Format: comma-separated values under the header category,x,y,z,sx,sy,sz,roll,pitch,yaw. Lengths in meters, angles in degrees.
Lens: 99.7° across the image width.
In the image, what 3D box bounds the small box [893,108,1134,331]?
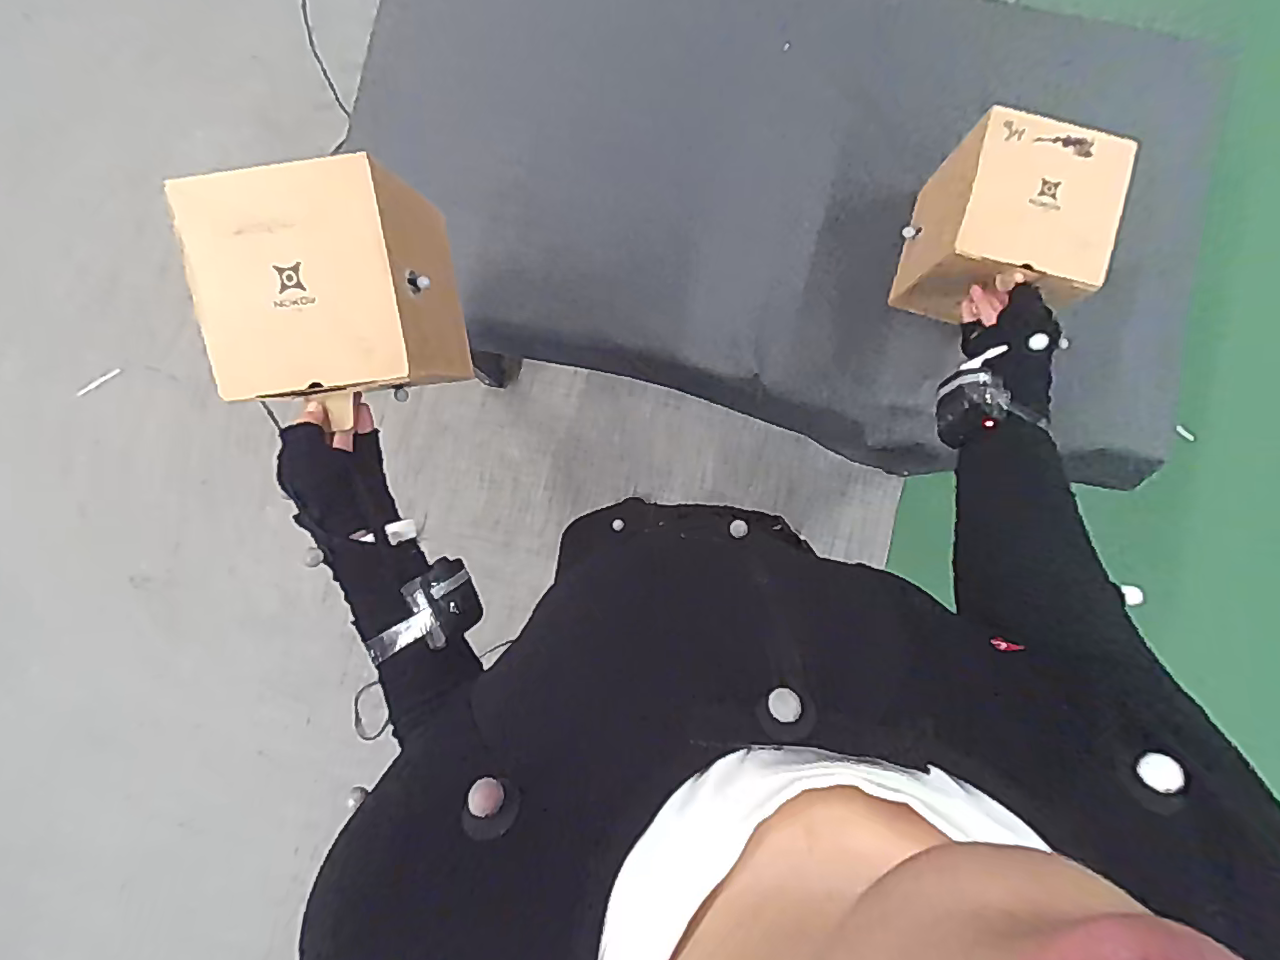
category,x,y,z,sx,sy,sz,roll,pitch,yaw
small box,0.445,-0.306,0.676,0.168,0.176,0.179,17,88,1

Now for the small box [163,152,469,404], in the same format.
category,x,y,z,sx,sy,sz,roll,pitch,yaw
small box,-0.276,-0.172,0.508,0.168,0.176,0.179,-8,100,2
